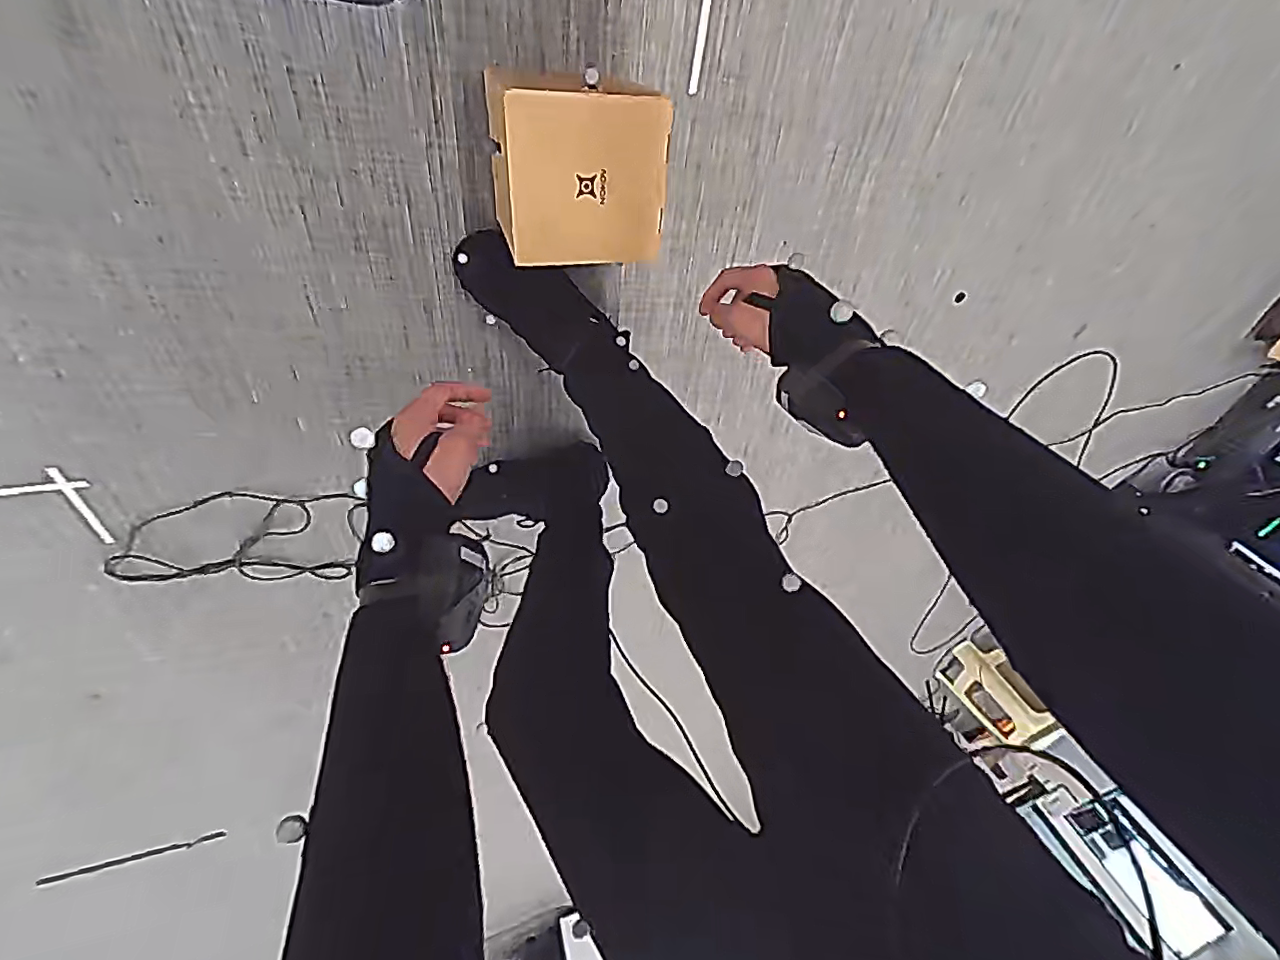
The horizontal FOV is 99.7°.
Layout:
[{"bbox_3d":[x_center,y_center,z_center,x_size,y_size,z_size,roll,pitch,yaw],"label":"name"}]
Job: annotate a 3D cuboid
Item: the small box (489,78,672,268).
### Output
[{"bbox_3d":[-0.080,-0.364,0.641,0.179,0.176,0.168,-10,133,-17],"label":"small box"}]
